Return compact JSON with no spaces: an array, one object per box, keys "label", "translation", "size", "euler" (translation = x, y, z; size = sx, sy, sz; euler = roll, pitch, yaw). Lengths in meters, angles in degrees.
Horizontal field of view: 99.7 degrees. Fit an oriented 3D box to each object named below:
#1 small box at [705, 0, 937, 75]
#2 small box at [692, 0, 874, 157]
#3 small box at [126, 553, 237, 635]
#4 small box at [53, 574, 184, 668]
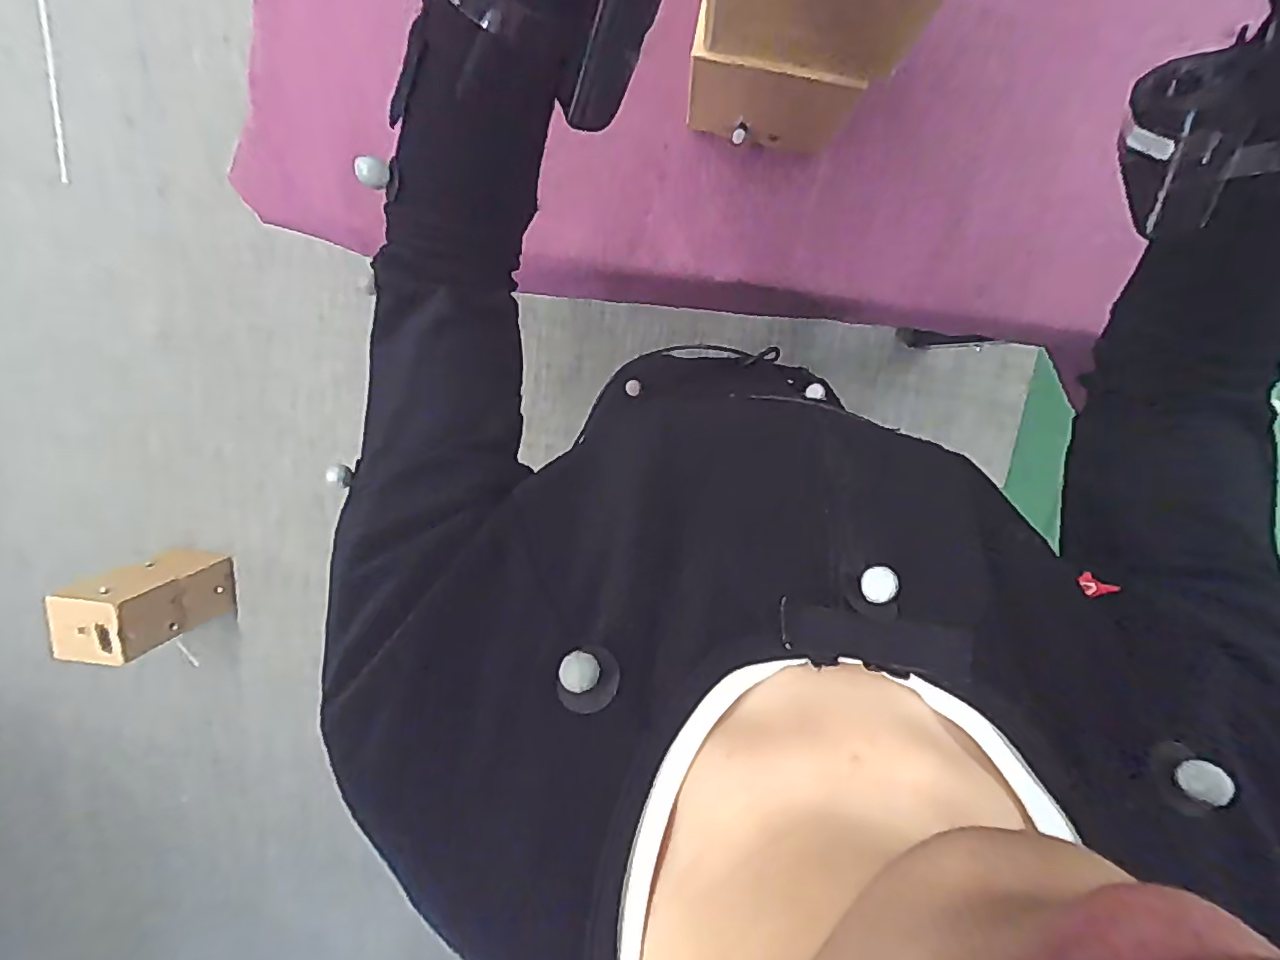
[{"label":"small box","translation":[0.148,-0.435,0.391],"size":[0.179,0.176,0.168],"euler":[10,102,1]},{"label":"small box","translation":[0.150,-0.467,0.549],"size":[0.168,0.176,0.179],"euler":[12,103,1]},{"label":"small box","translation":[-1.284,0.315,1.524],"size":[0.179,0.176,0.168],"euler":[7,103,1]},{"label":"small box","translation":[-1.299,0.348,1.364],"size":[0.179,0.176,0.168],"euler":[6,102,2]}]
